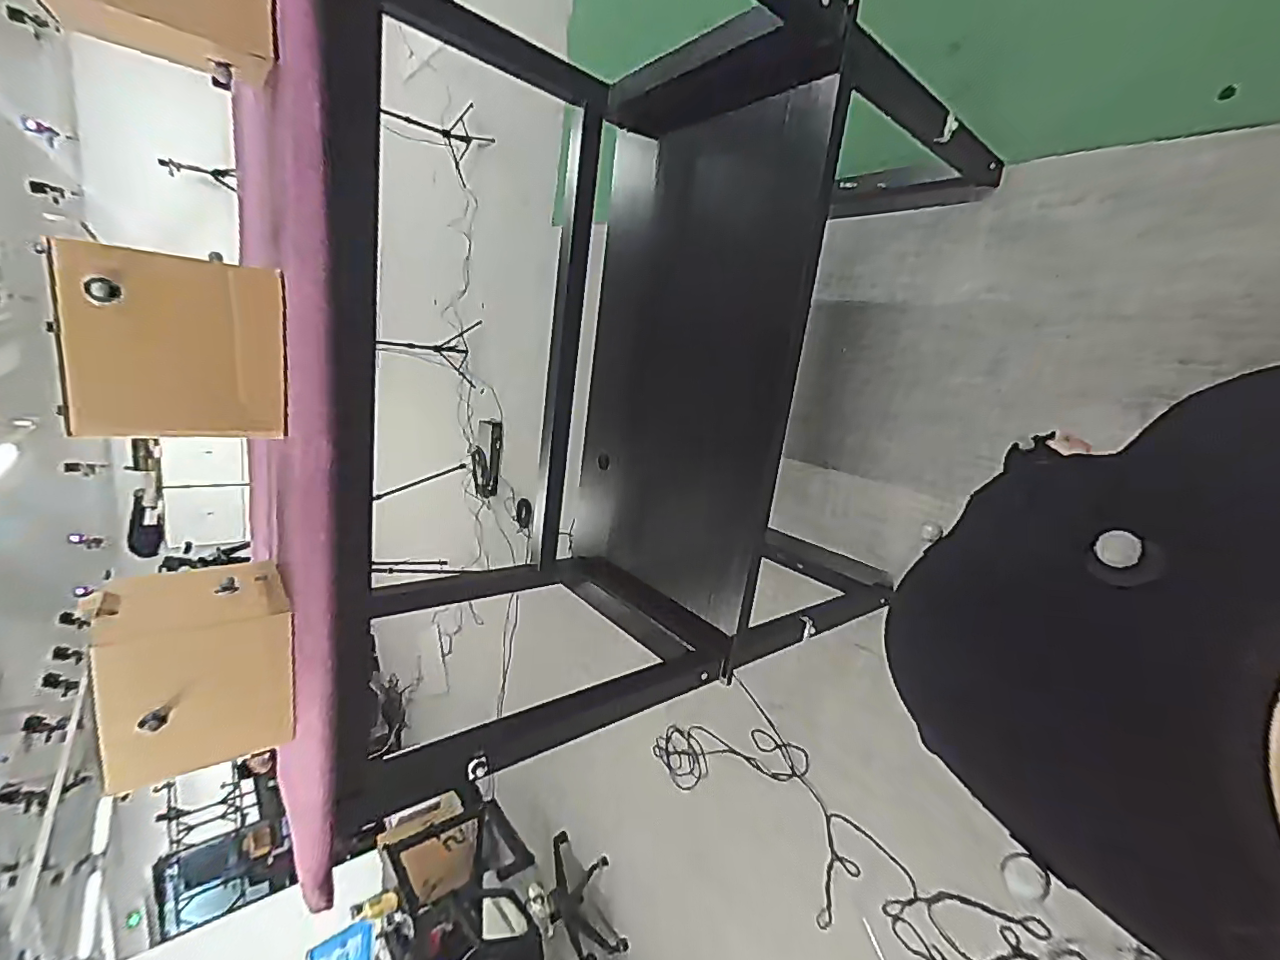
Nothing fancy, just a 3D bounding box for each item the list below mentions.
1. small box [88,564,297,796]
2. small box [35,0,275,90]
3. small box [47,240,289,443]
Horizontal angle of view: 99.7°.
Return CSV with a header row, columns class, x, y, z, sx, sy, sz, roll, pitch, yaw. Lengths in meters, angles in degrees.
class,x,y,z,sx,sy,sz,roll,pitch,yaw
small box,-0.515,0.216,0.639,0.168,0.176,0.179,21,108,47
small box,-0.441,-0.491,0.495,0.179,0.176,0.168,32,119,47
small box,-0.480,-0.140,0.576,0.168,0.176,0.179,23,109,49
